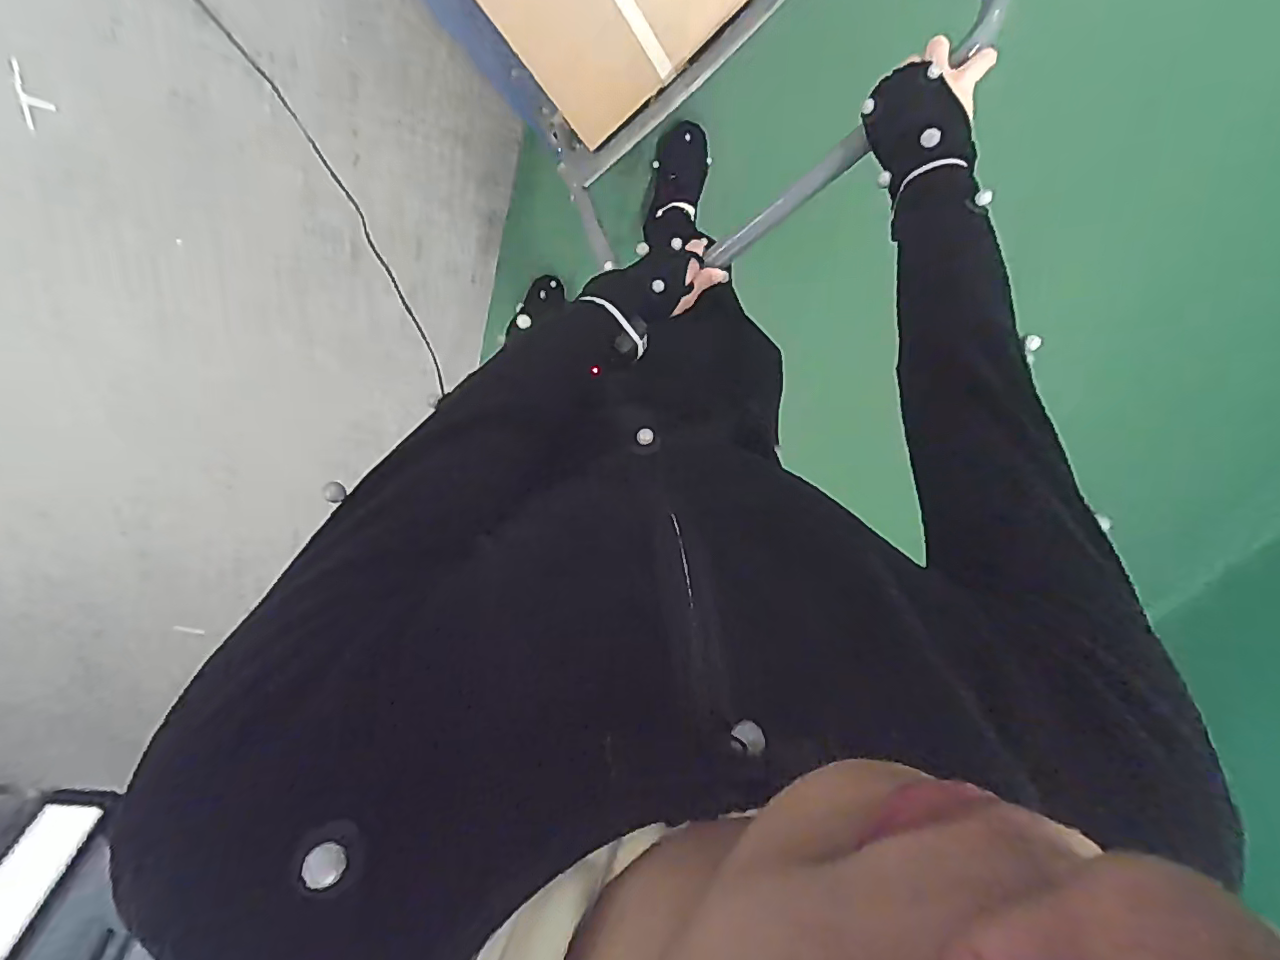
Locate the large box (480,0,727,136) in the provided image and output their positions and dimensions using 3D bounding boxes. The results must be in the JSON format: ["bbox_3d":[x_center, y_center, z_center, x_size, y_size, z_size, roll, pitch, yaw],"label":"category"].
[{"bbox_3d":[-0.105,-0.833,0.807,0.320,0.320,0.408,-34,131,21],"label":"large box"}]
